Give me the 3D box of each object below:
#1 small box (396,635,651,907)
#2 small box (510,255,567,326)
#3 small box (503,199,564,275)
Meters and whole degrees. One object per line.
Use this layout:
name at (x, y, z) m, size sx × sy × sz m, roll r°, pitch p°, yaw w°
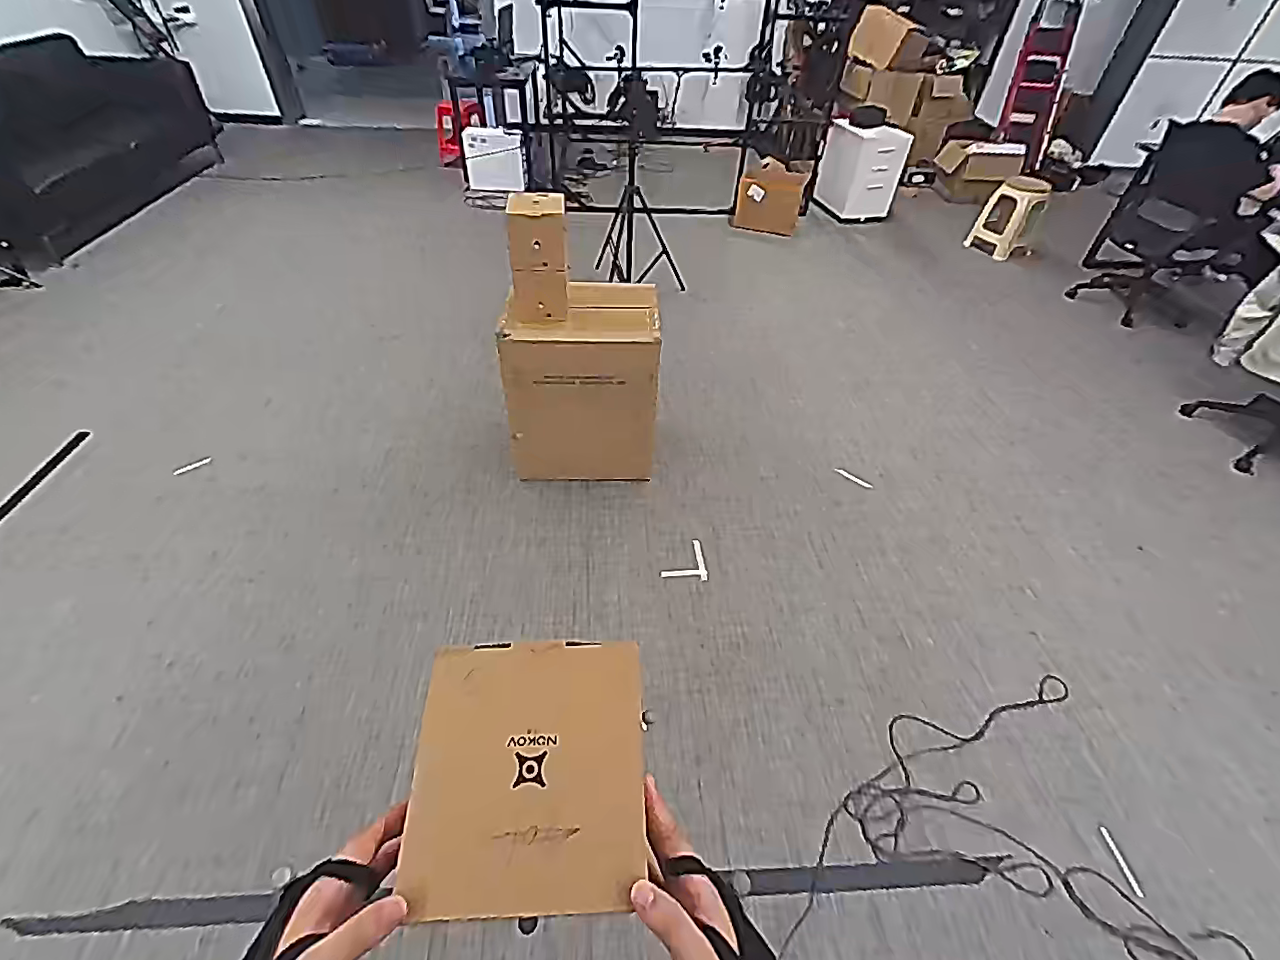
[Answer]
small box at (-0.080, 0.246, 0.459) m, size 0.168 × 0.176 × 0.179 m, roll -1°, pitch 55°, yaw -3°
small box at (-0.326, -0.626, 1.771) m, size 0.168 × 0.176 × 0.179 m, roll -1°, pitch 46°, yaw -5°
small box at (-0.320, -0.743, 1.656) m, size 0.168 × 0.176 × 0.179 m, roll -2°, pitch 46°, yaw -6°
